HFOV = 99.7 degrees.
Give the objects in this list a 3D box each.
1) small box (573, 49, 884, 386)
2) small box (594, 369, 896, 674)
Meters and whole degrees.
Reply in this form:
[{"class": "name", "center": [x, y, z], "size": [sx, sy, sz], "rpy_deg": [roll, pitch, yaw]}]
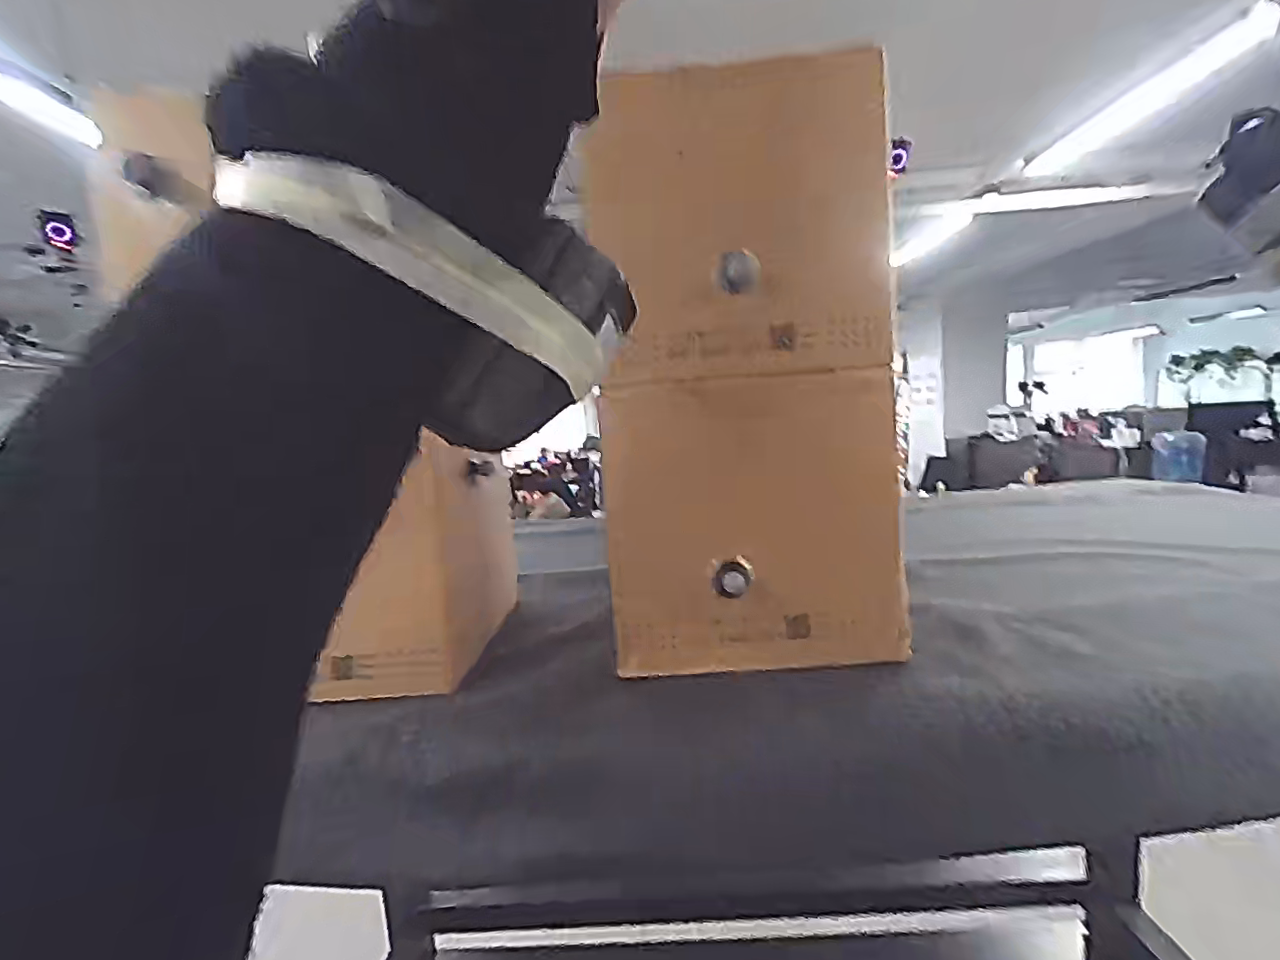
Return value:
[{"class": "small box", "center": [0.053, -0.144, 0.375], "size": [0.168, 0.176, 0.179], "rpy_deg": [-4, 5, 3]}, {"class": "small box", "center": [0.062, 0.021, 0.383], "size": [0.168, 0.176, 0.179], "rpy_deg": [-4, 4, 1]}]
